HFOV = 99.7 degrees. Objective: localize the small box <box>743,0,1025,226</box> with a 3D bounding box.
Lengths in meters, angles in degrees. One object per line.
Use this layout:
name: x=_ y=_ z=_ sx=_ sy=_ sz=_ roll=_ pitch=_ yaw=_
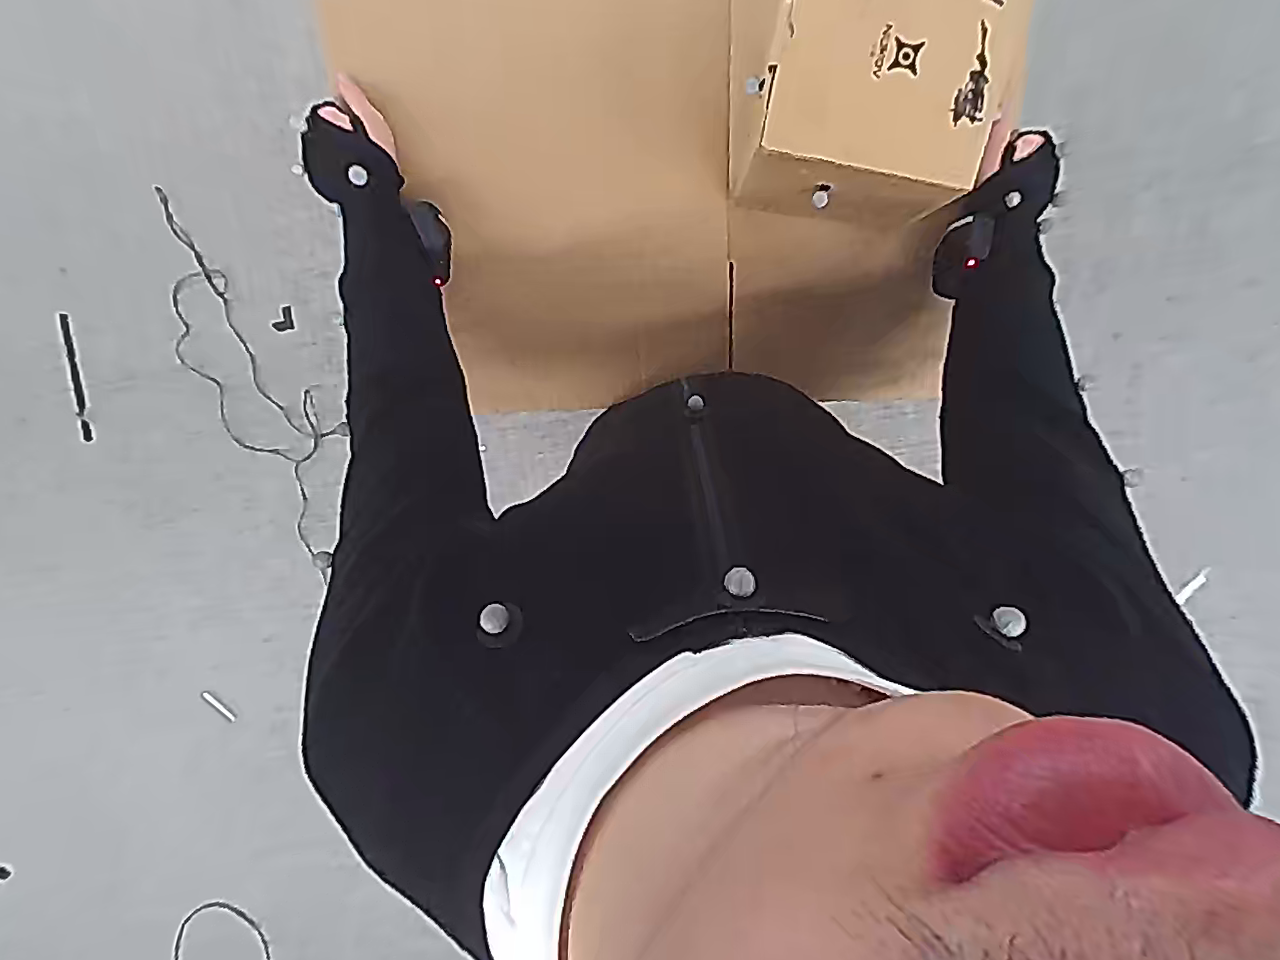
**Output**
small box: x=0.201 y=-0.349 z=0.496 sx=0.179 sy=0.176 sz=0.168 roll=12 pitch=103 yaw=2
